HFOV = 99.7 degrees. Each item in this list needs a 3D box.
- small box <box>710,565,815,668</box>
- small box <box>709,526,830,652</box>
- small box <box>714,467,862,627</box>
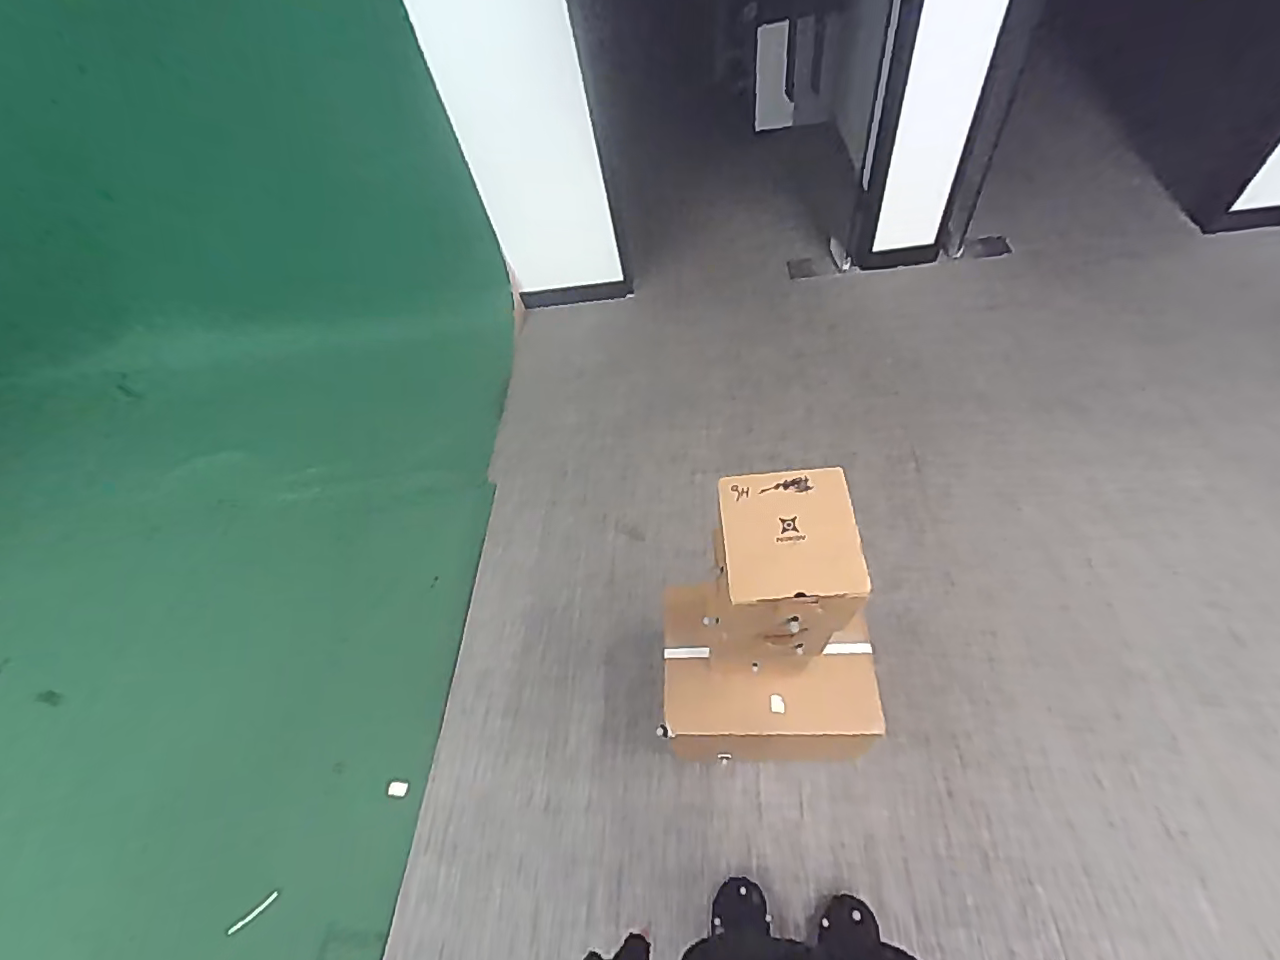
[{"bbox_3d":[0.226,0.262,1.038,0.179,0.176,0.168,-4,62,8],"label":"small box"},{"bbox_3d":[0.207,0.182,0.898,0.168,0.176,0.179,-6,60,6],"label":"small box"},{"bbox_3d":[0.195,0.102,0.755,0.168,0.176,0.179,-6,62,7],"label":"small box"}]
